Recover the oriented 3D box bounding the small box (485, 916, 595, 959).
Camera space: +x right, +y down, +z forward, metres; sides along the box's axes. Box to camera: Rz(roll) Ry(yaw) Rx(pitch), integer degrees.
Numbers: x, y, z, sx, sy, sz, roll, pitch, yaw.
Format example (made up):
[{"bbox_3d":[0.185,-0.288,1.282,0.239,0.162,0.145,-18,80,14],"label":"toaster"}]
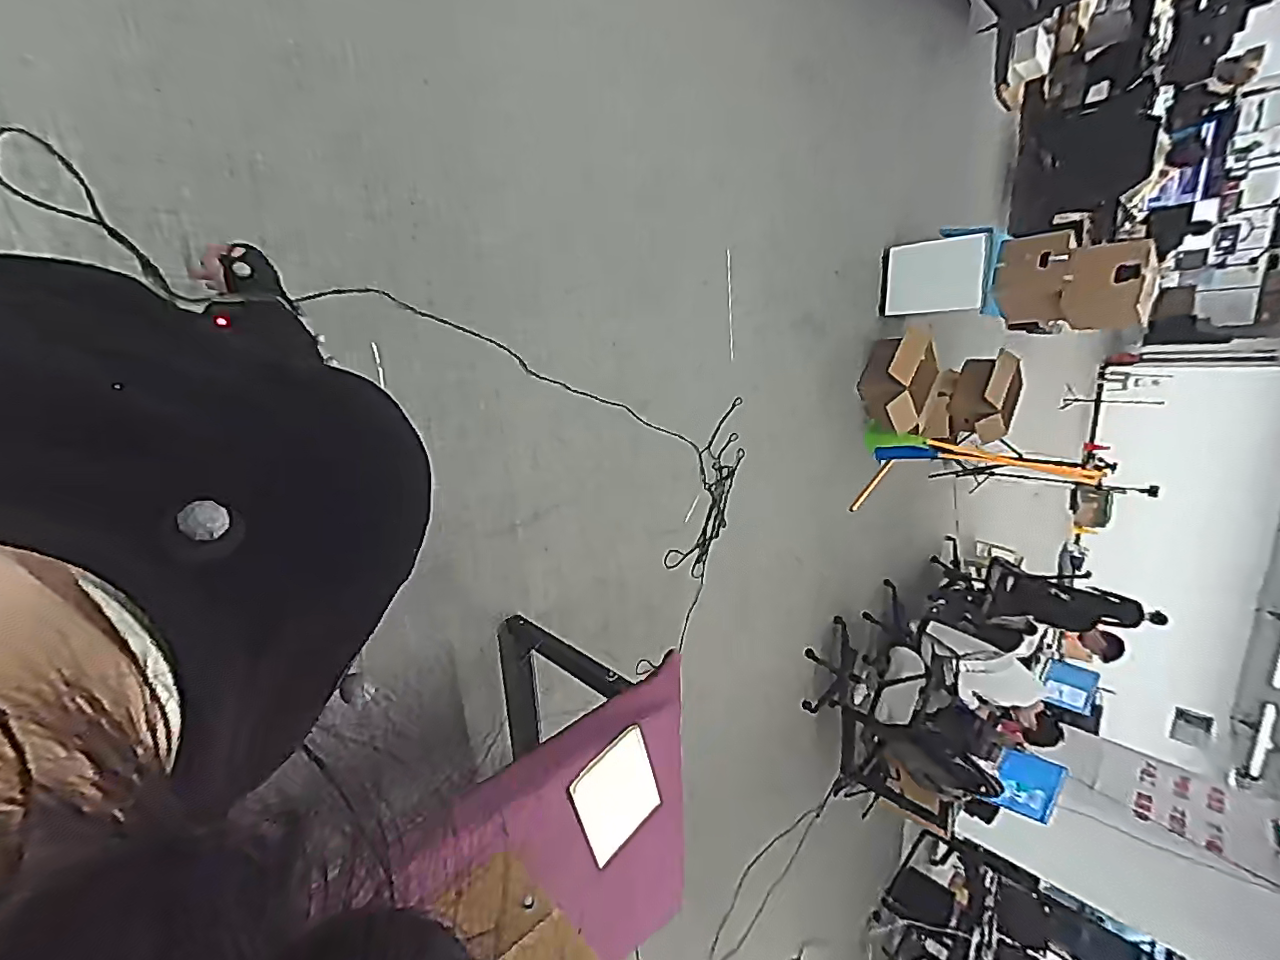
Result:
[{"bbox_3d":[-0.155,0.825,0.824,0.168,0.176,0.179,-15,110,-43],"label":"small box"}]
